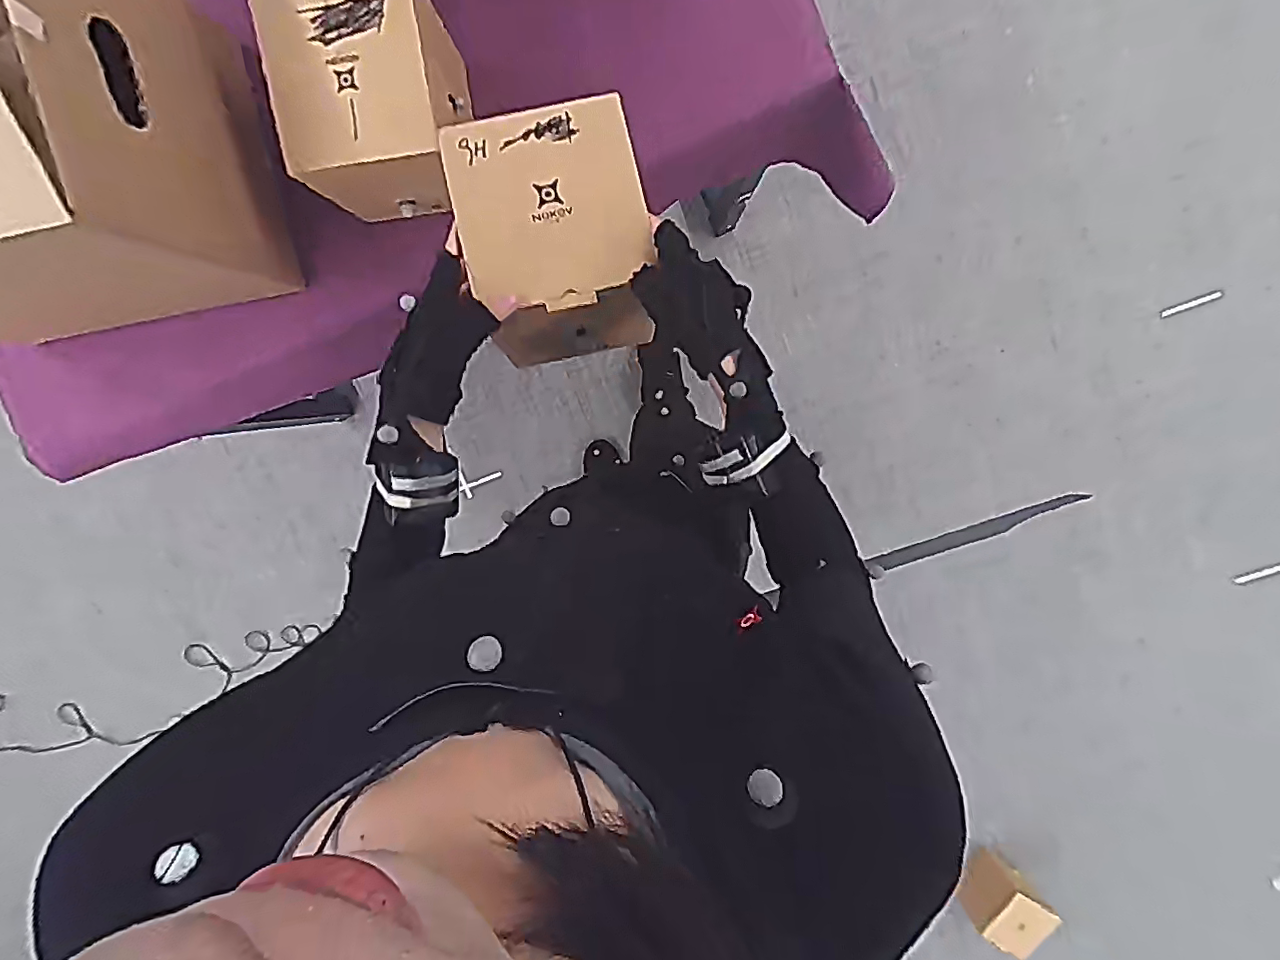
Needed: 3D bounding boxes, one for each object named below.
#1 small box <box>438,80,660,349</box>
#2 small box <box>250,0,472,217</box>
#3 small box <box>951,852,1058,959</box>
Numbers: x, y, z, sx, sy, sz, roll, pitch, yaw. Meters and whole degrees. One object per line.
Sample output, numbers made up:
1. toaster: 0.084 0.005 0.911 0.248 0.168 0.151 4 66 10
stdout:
1. small box: -0.078 -0.242 0.542 0.168 0.176 0.179 -12 88 -2
2. small box: -0.293 -0.426 0.616 0.168 0.176 0.179 -7 100 2
3. small box: 1.074 1.277 1.616 0.168 0.176 0.179 33 97 -6
